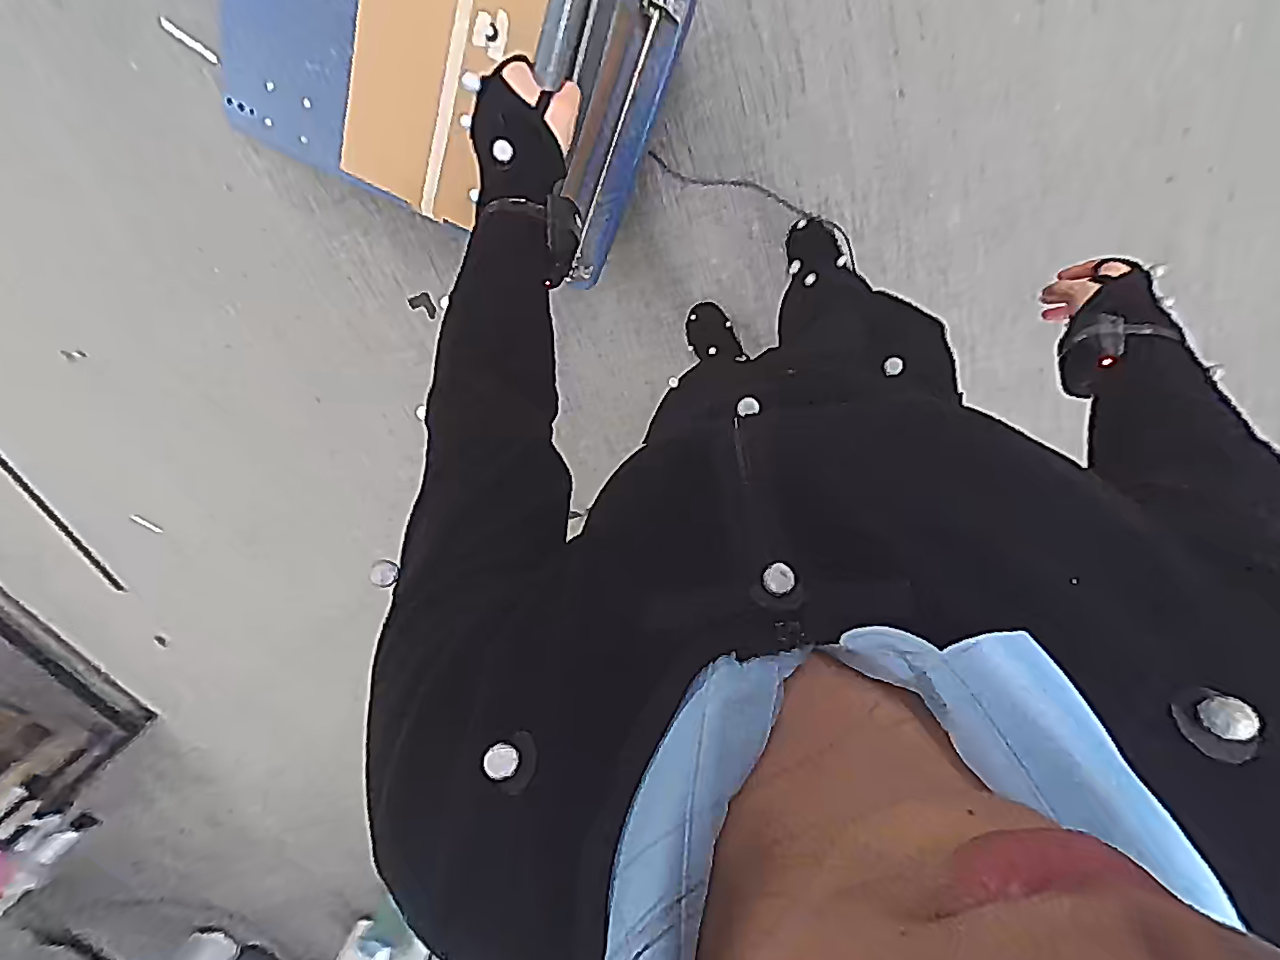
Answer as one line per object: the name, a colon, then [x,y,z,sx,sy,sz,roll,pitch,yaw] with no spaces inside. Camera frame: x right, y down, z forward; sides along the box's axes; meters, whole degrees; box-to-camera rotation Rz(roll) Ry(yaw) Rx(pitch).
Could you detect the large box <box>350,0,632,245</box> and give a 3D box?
large box: [-0.245,-0.675,0.938,0.320,0.320,0.408,24,118,-4]
